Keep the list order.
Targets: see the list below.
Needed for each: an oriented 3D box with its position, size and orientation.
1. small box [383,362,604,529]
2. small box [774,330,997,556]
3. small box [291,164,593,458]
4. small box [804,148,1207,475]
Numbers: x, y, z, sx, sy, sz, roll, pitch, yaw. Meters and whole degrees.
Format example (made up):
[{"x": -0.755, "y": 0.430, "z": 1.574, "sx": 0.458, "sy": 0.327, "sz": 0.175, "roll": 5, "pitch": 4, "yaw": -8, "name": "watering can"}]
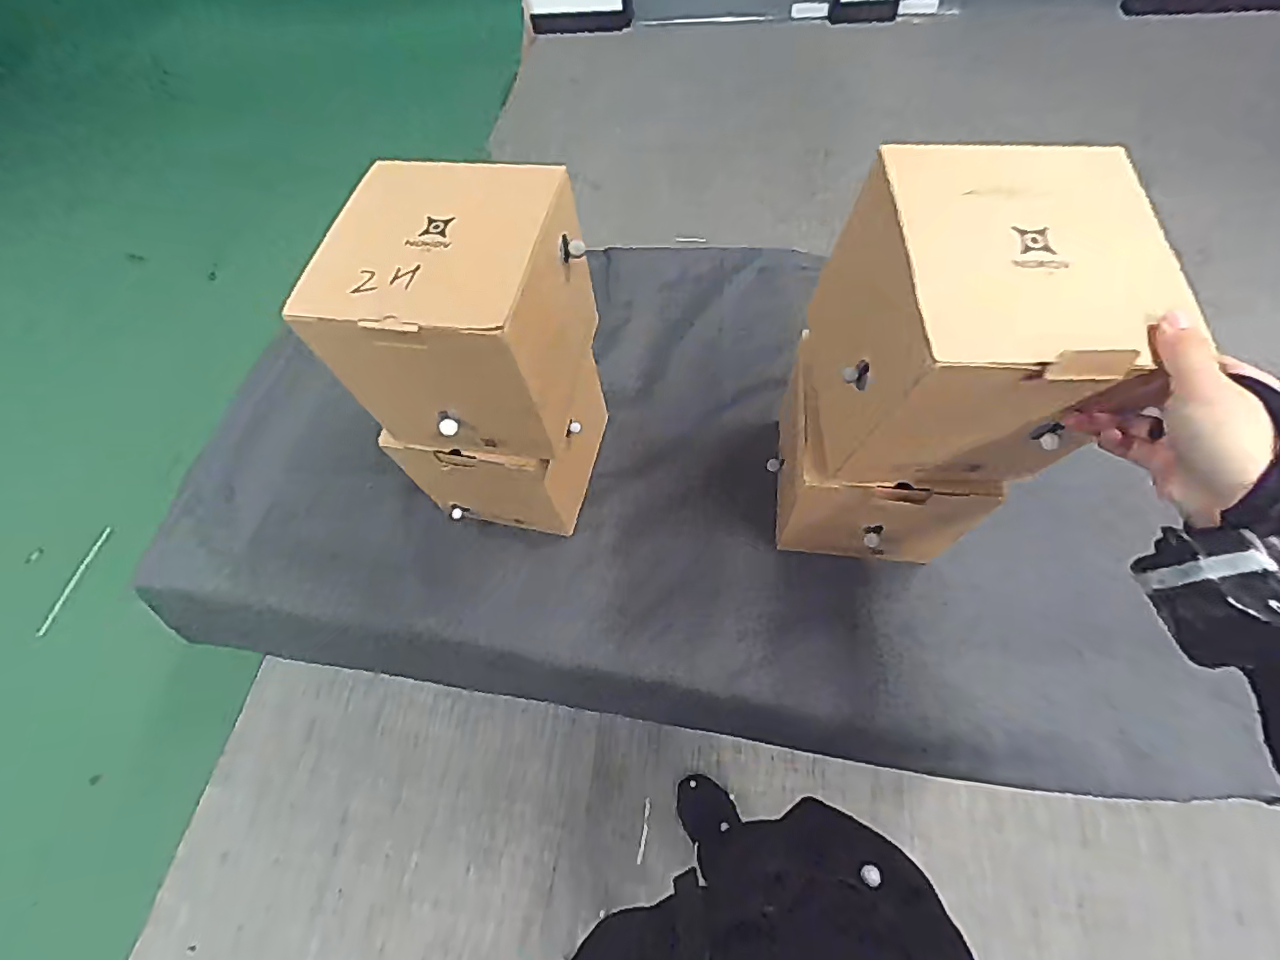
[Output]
[{"x": -0.147, "y": -0.061, "z": 0.619, "sx": 0.168, "sy": 0.176, "sz": 0.179, "roll": 10, "pitch": 63, "yaw": 10, "name": "small box"}, {"x": 0.235, "y": -0.031, "z": 0.563, "sx": 0.168, "sy": 0.176, "sz": 0.179, "roll": 5, "pitch": 64, "yaw": 8, "name": "small box"}, {"x": -0.145, "y": -0.142, "z": 0.475, "sx": 0.168, "sy": 0.176, "sz": 0.179, "roll": 7, "pitch": 63, "yaw": 10, "name": "small box"}, {"x": 0.235, "y": -0.111, "z": 0.406, "sx": 0.168, "sy": 0.176, "sz": 0.179, "roll": 0, "pitch": 67, "yaw": -2, "name": "small box"}]
